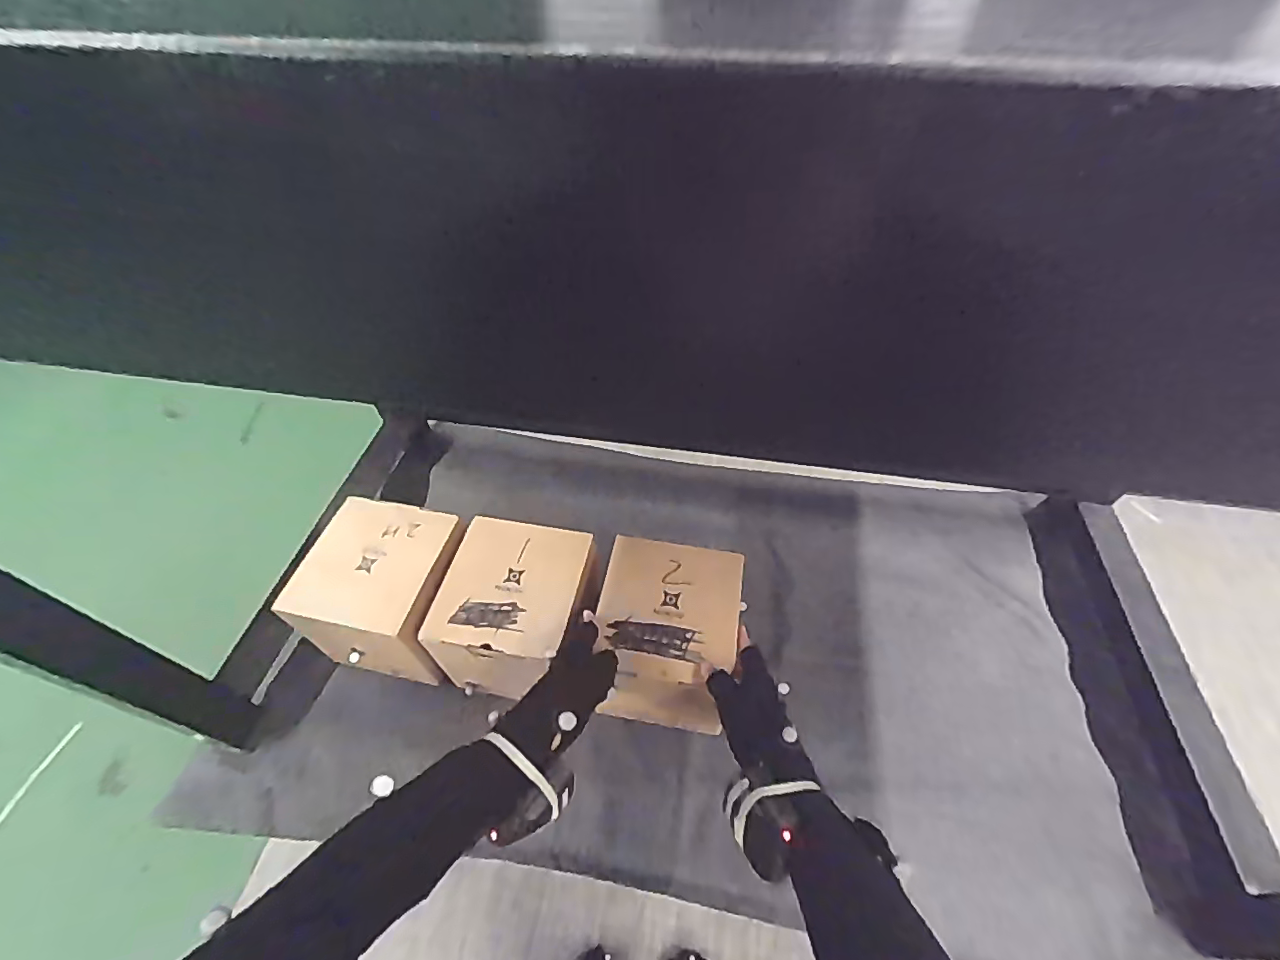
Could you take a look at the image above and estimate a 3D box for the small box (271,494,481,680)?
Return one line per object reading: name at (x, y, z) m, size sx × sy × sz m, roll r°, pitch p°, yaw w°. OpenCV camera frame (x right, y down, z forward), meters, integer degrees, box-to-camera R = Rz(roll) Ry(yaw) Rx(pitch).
small box at (-0.335, 0.149, 0.732) m, size 0.168 × 0.176 × 0.179 m, roll 10°, pitch 51°, yaw 8°
